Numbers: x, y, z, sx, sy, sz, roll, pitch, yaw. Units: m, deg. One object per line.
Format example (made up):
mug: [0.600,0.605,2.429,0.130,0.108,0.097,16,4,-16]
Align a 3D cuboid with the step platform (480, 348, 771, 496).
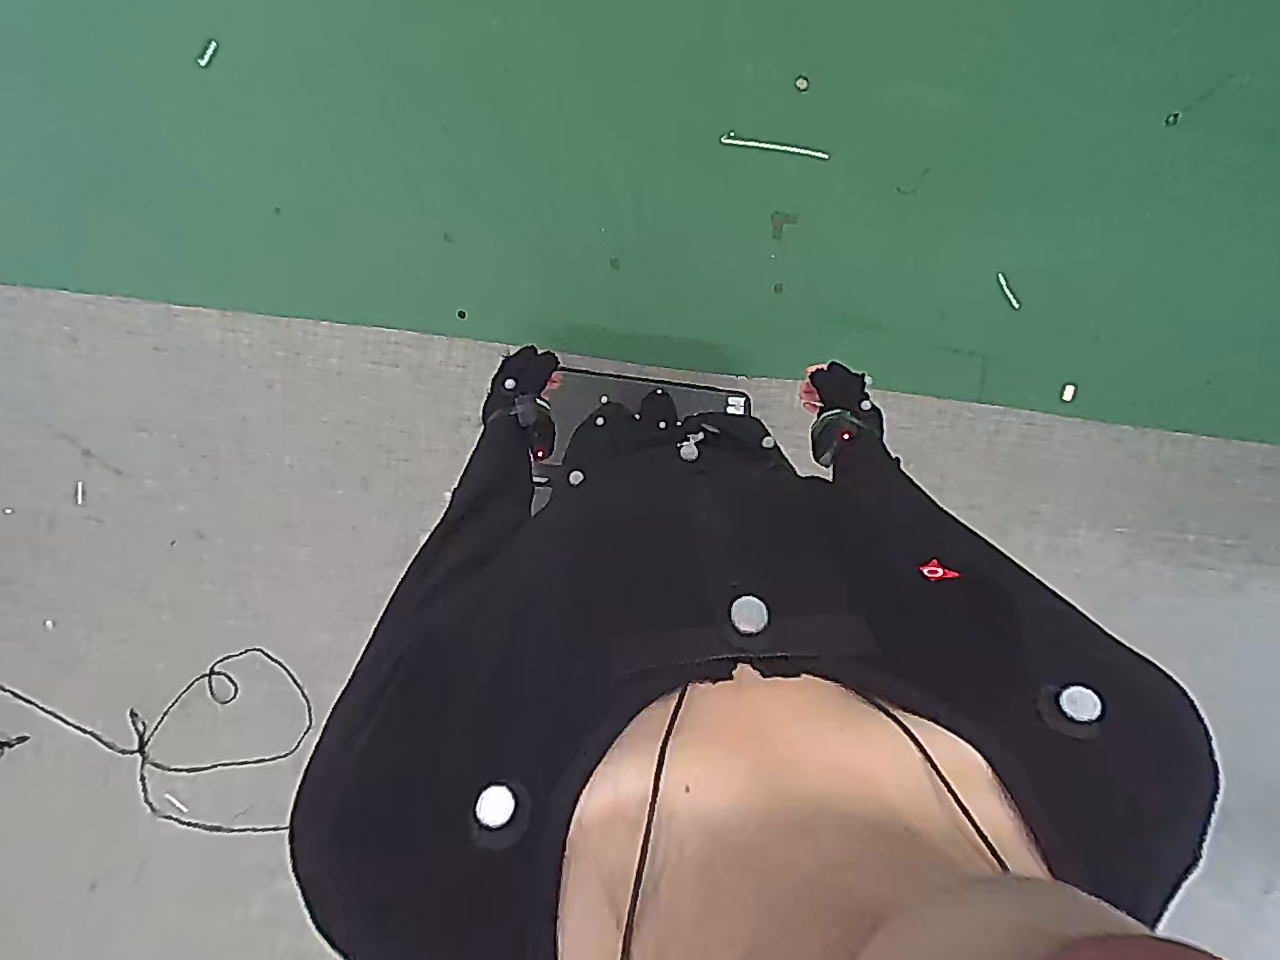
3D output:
step platform: [-0.035,-0.146,1.360,0.684,0.204,0.286,7,98,-1]
